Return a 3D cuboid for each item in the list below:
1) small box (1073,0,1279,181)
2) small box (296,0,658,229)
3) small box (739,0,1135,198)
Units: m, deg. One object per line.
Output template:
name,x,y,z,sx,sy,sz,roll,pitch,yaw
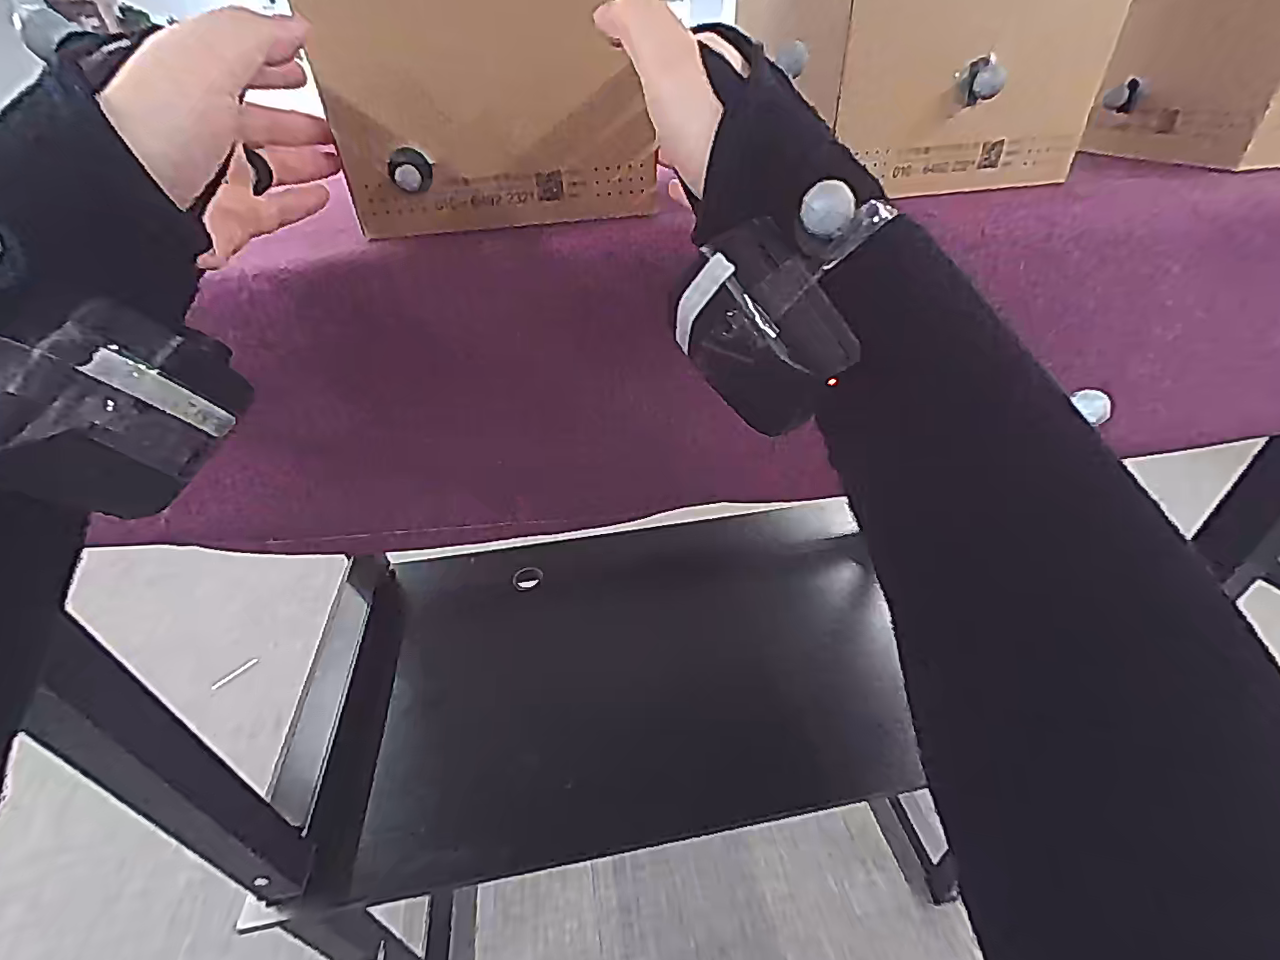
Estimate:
small box,0.450,-0.314,0.368,0.179,0.176,0.168,-7,36,-4
small box,-0.087,-0.254,0.320,0.168,0.176,0.179,-9,36,-9
small box,0.170,-0.287,0.347,0.168,0.176,0.179,-9,37,-8
